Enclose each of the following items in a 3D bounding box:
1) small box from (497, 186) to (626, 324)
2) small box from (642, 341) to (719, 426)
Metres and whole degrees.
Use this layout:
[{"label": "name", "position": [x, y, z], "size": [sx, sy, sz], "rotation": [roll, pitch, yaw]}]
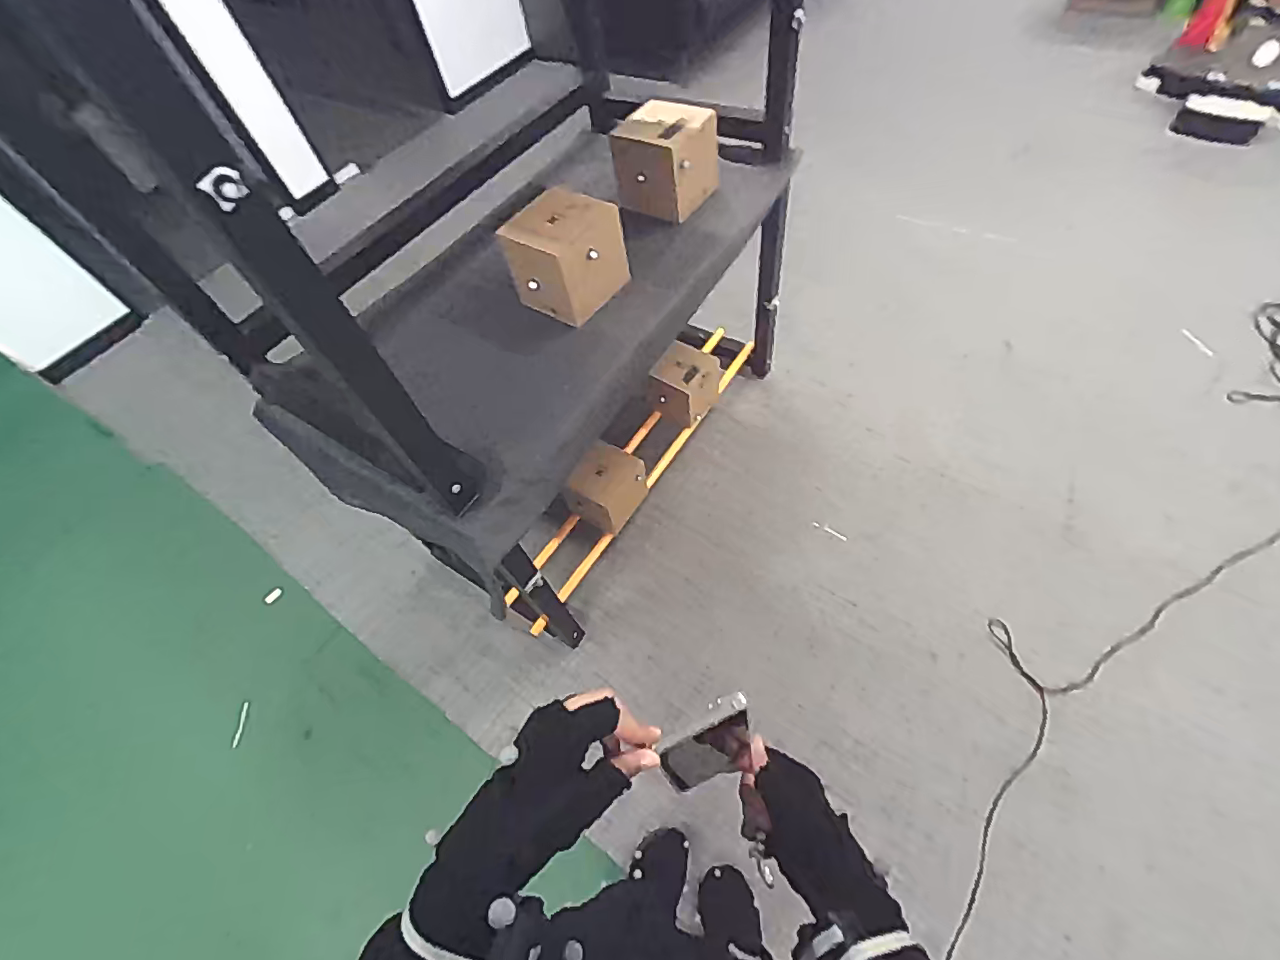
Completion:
[{"label": "small box", "position": [-0.145, -0.442, 1.073], "size": [0.168, 0.176, 0.179], "rotation": [30, 66, 24]}, {"label": "small box", "position": [0.132, -0.295, 1.685], "size": [0.179, 0.176, 0.168], "rotation": [30, 66, 24]}]
